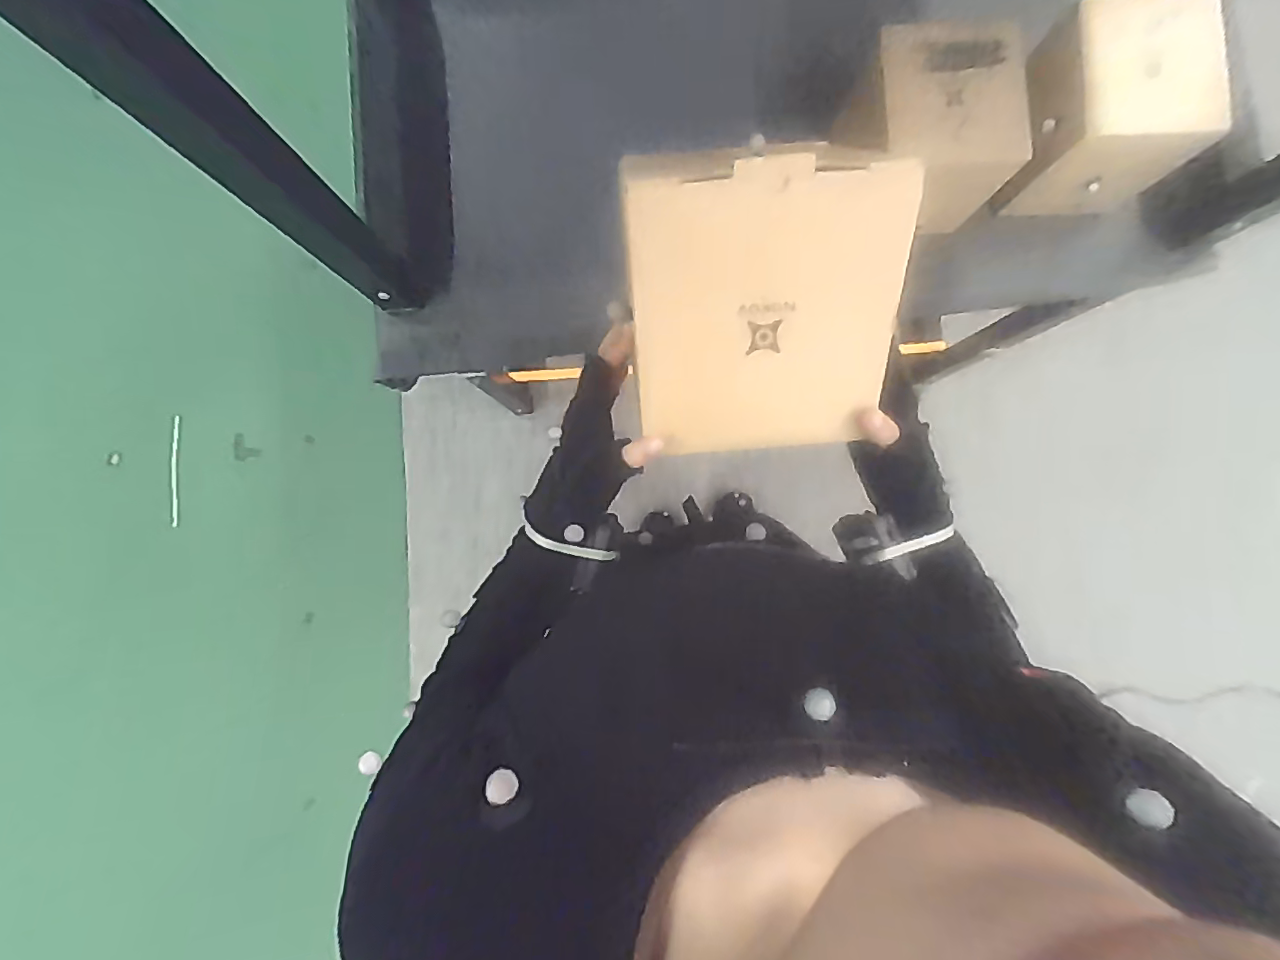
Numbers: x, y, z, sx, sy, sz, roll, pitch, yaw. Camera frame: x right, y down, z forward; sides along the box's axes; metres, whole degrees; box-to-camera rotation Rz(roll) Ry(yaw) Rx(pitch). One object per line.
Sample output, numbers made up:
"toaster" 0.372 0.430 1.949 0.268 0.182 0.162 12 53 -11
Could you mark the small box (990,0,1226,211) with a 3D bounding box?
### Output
"small box" 0.594 -0.476 0.709 0.168 0.176 0.179 -1 85 1
